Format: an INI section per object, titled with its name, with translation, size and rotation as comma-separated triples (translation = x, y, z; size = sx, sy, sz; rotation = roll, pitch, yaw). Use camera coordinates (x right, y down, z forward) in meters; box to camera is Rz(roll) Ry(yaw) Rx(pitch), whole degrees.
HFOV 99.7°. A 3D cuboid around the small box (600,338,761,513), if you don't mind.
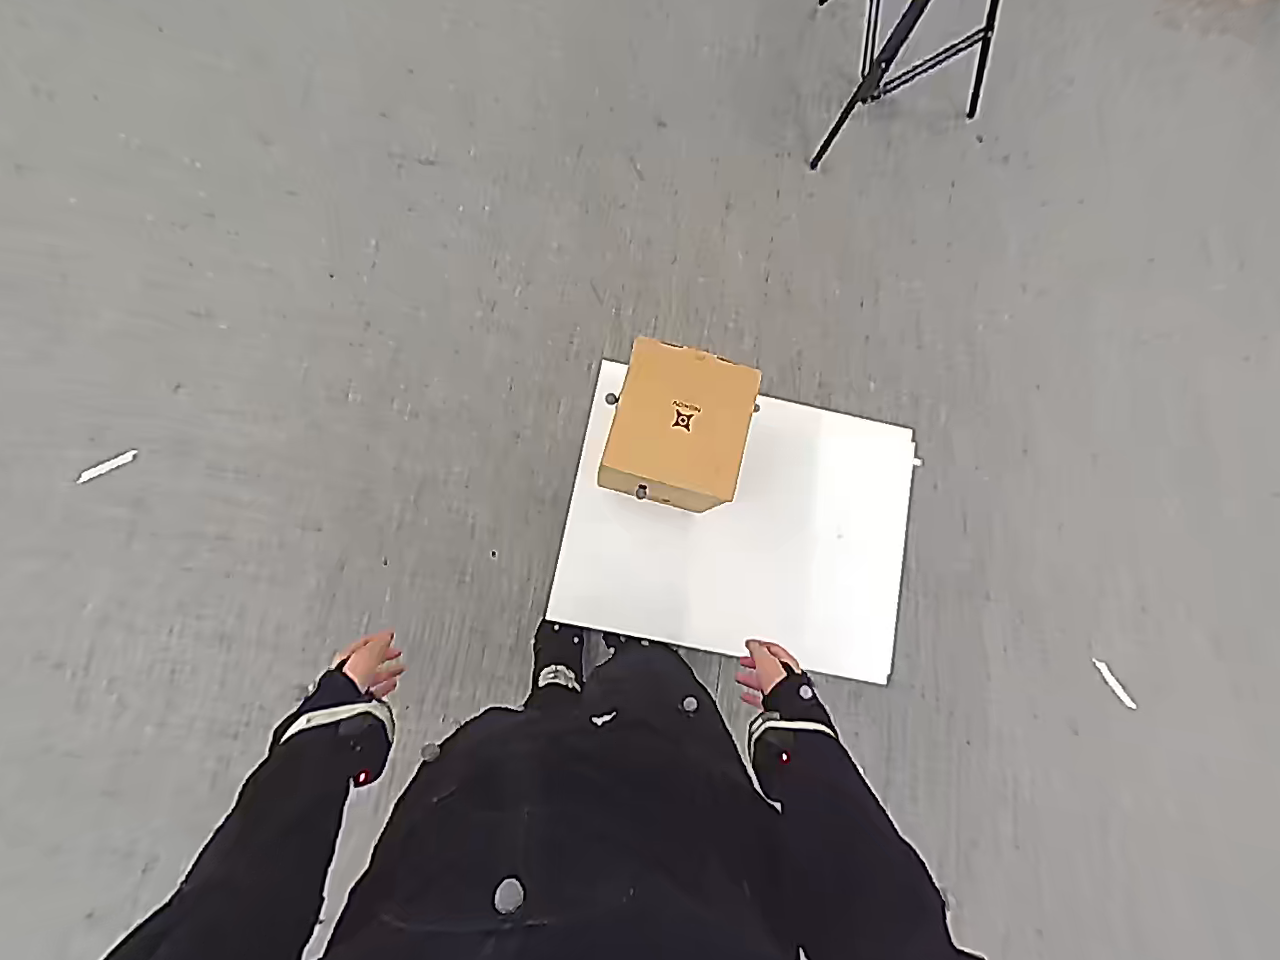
[small box]
translation = 0.046, -0.061, 0.735
size = 0.168, 0.176, 0.179
rotation = 15, 79, -4
